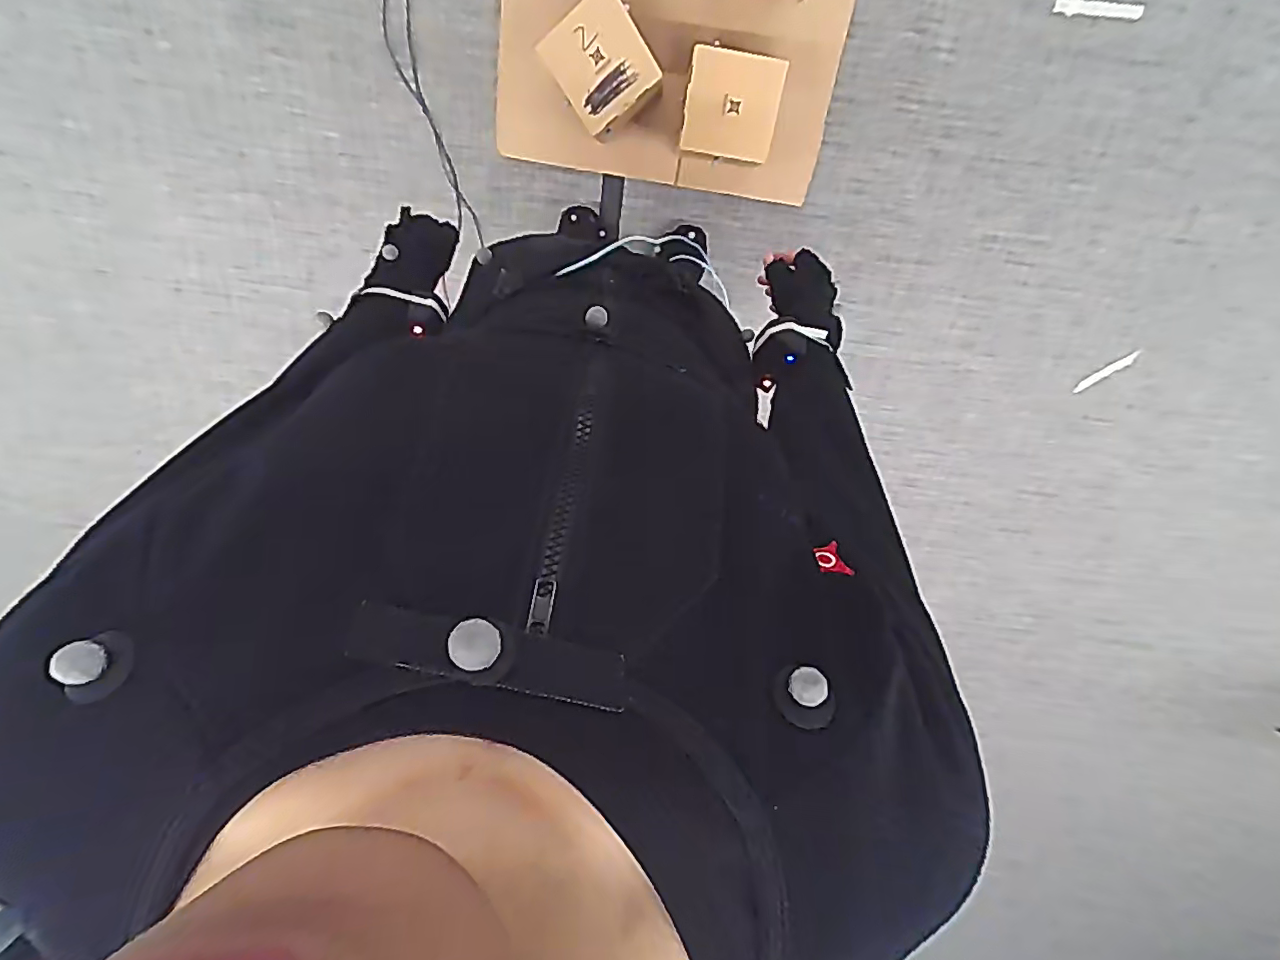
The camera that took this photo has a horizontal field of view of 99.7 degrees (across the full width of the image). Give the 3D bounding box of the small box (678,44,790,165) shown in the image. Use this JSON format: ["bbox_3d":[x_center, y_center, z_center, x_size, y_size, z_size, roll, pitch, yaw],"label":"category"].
[{"bbox_3d":[0.178,-0.740,1.084,0.179,0.176,0.168,10,118,-1],"label":"small box"}]
